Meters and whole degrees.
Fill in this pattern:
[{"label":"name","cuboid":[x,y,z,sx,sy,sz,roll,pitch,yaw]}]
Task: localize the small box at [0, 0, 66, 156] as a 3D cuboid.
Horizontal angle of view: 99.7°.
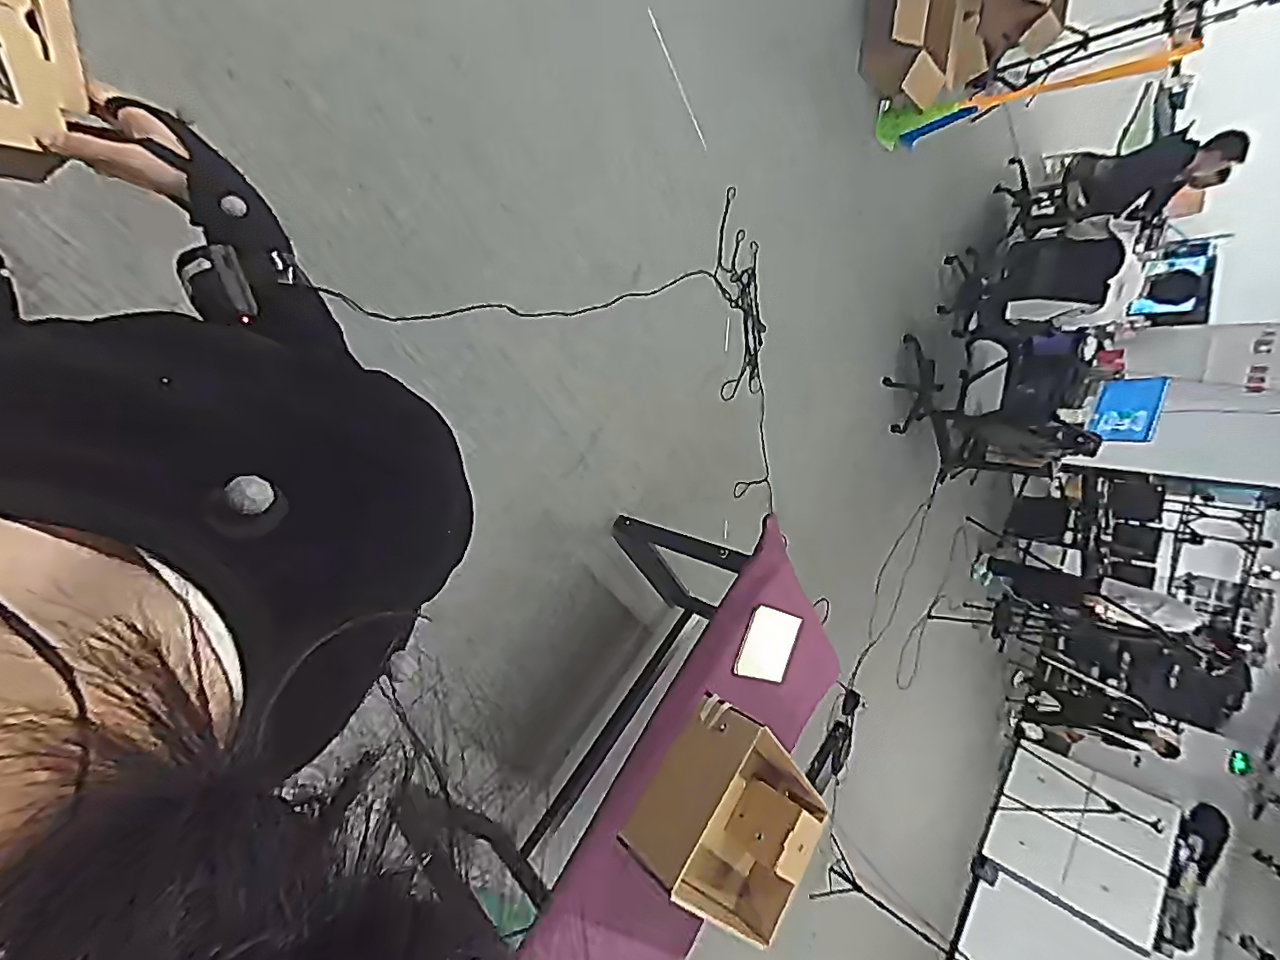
[{"label":"small box","cuboid":[-0.522,-0.323,0.345,0.179,0.176,0.168,-17,116,-49]}]
